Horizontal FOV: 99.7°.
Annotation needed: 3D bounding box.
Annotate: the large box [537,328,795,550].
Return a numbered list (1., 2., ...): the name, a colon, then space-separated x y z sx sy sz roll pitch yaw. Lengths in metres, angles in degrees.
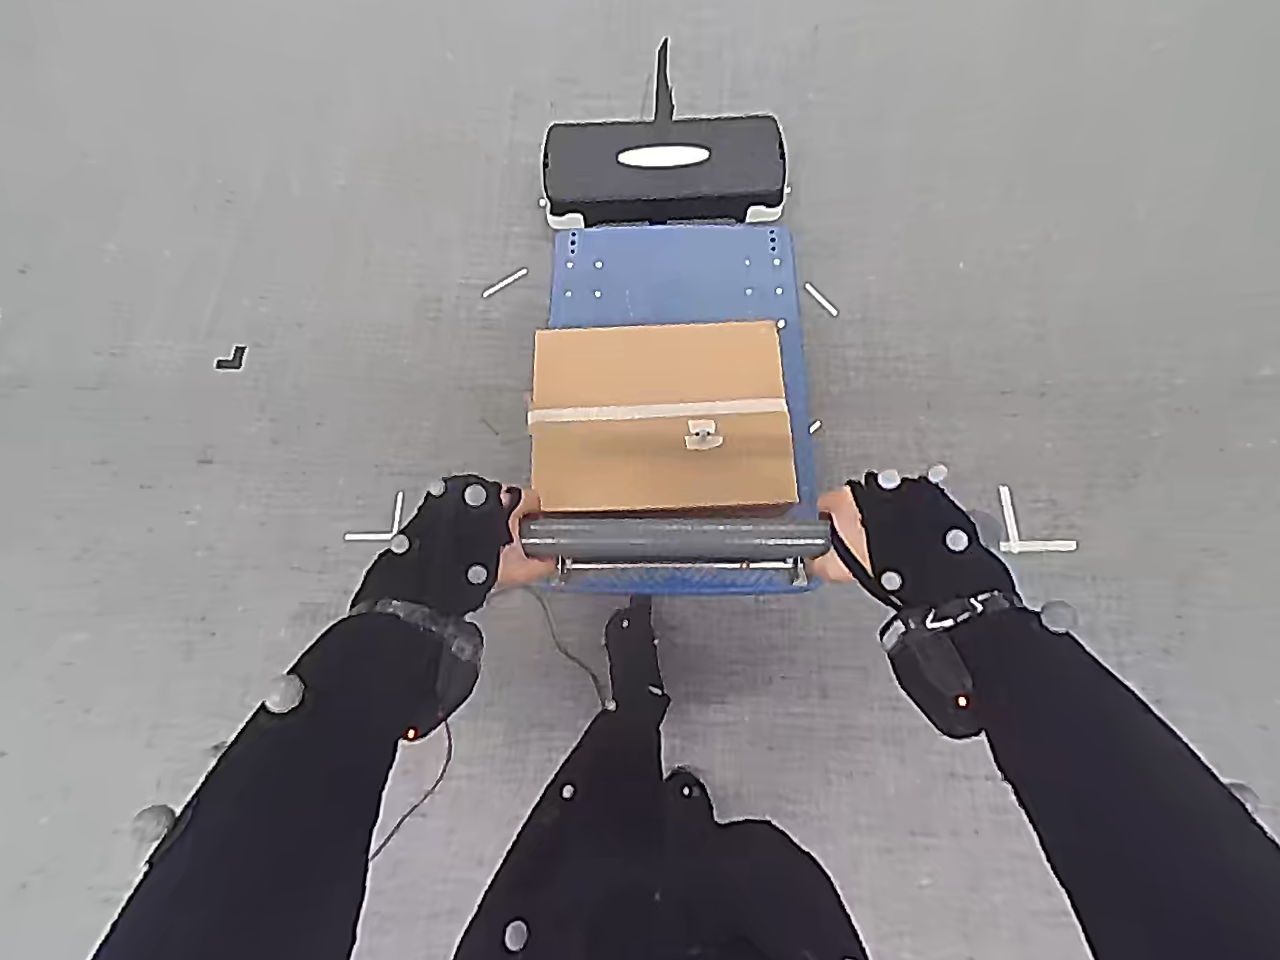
1. large box: 0.033 -0.056 1.005 0.408 0.320 0.320 -2 74 0
